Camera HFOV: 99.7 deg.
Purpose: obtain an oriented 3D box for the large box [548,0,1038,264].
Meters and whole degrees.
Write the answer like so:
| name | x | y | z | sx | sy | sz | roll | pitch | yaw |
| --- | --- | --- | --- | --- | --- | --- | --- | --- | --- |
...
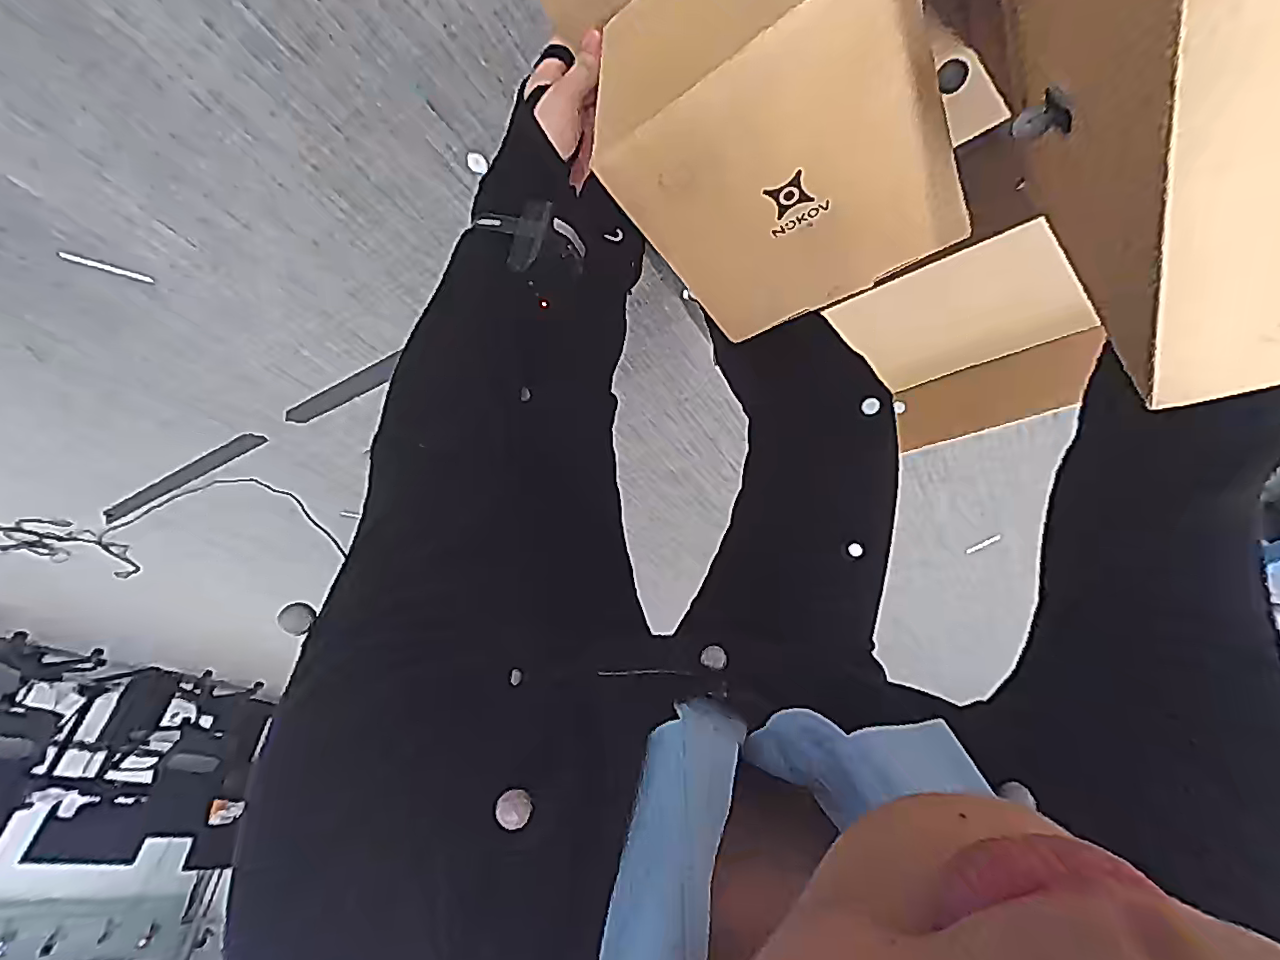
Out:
| name | x | y | z | sx | sy | sz | roll | pitch | yaw |
| --- | --- | --- | --- | --- | --- | --- | --- | --- | --- |
| large box | 0.169 | -0.472 | 0.429 | 0.408 | 0.320 | 0.320 | -19 | 139 | 32 |

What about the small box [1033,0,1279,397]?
| name | x | y | z | sx | sy | sz | roll | pitch | yaw |
| --- | --- | --- | --- | --- | --- | --- | --- | --- | --- |
| small box | 0.233 | -0.159 | 0.153 | 0.179 | 0.176 | 0.168 | -18 | 141 | 32 |
